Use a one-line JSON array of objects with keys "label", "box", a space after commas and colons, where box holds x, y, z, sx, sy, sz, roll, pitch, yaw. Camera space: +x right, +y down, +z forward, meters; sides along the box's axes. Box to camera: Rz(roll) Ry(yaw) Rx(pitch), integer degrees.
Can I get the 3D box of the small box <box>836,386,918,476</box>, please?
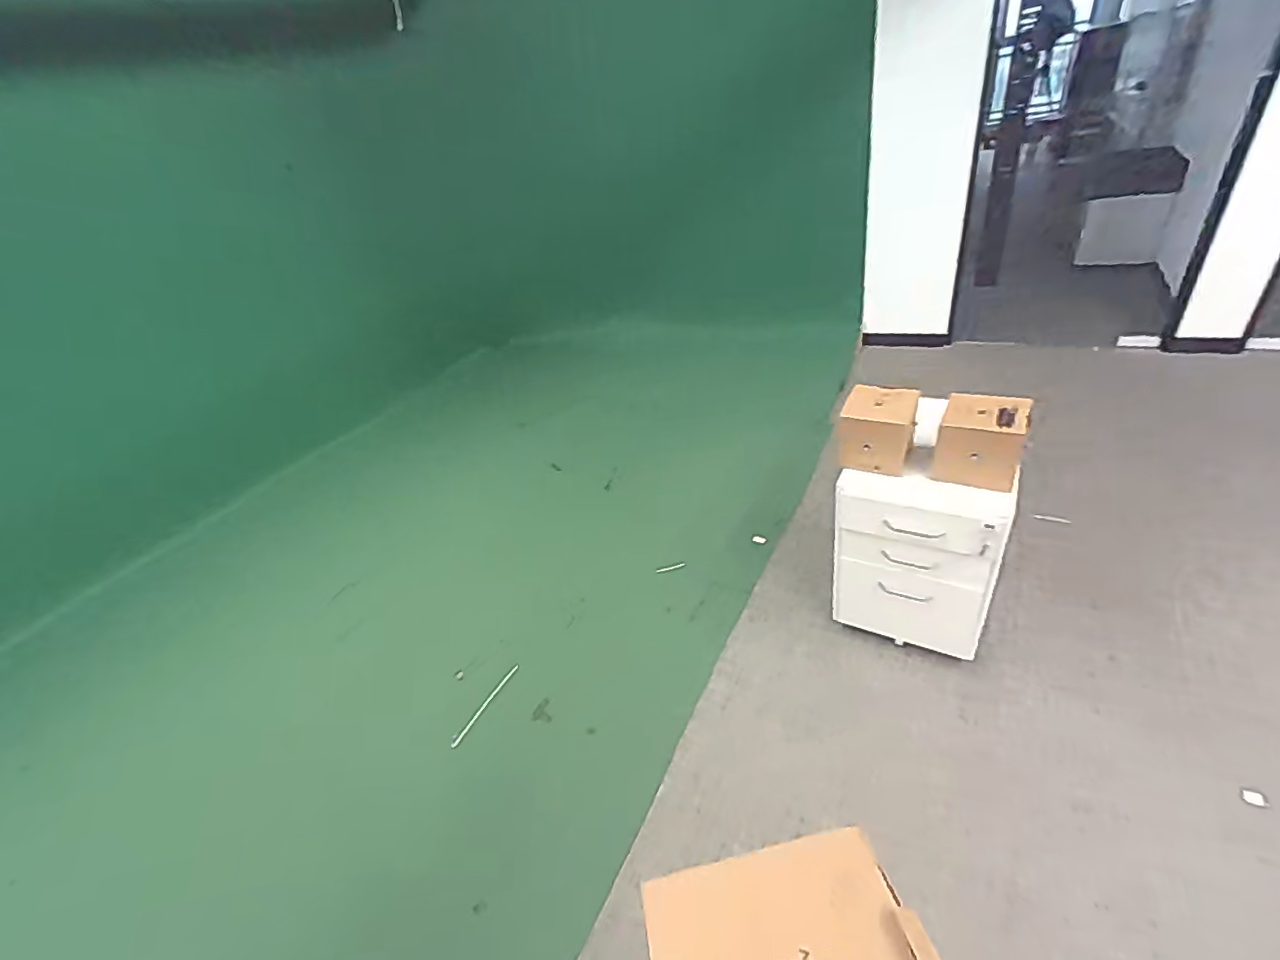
[{"label": "small box", "box": [0.634, -0.133, 1.454, 0.168, 0.176, 0.179, 14, 43, 30]}]
